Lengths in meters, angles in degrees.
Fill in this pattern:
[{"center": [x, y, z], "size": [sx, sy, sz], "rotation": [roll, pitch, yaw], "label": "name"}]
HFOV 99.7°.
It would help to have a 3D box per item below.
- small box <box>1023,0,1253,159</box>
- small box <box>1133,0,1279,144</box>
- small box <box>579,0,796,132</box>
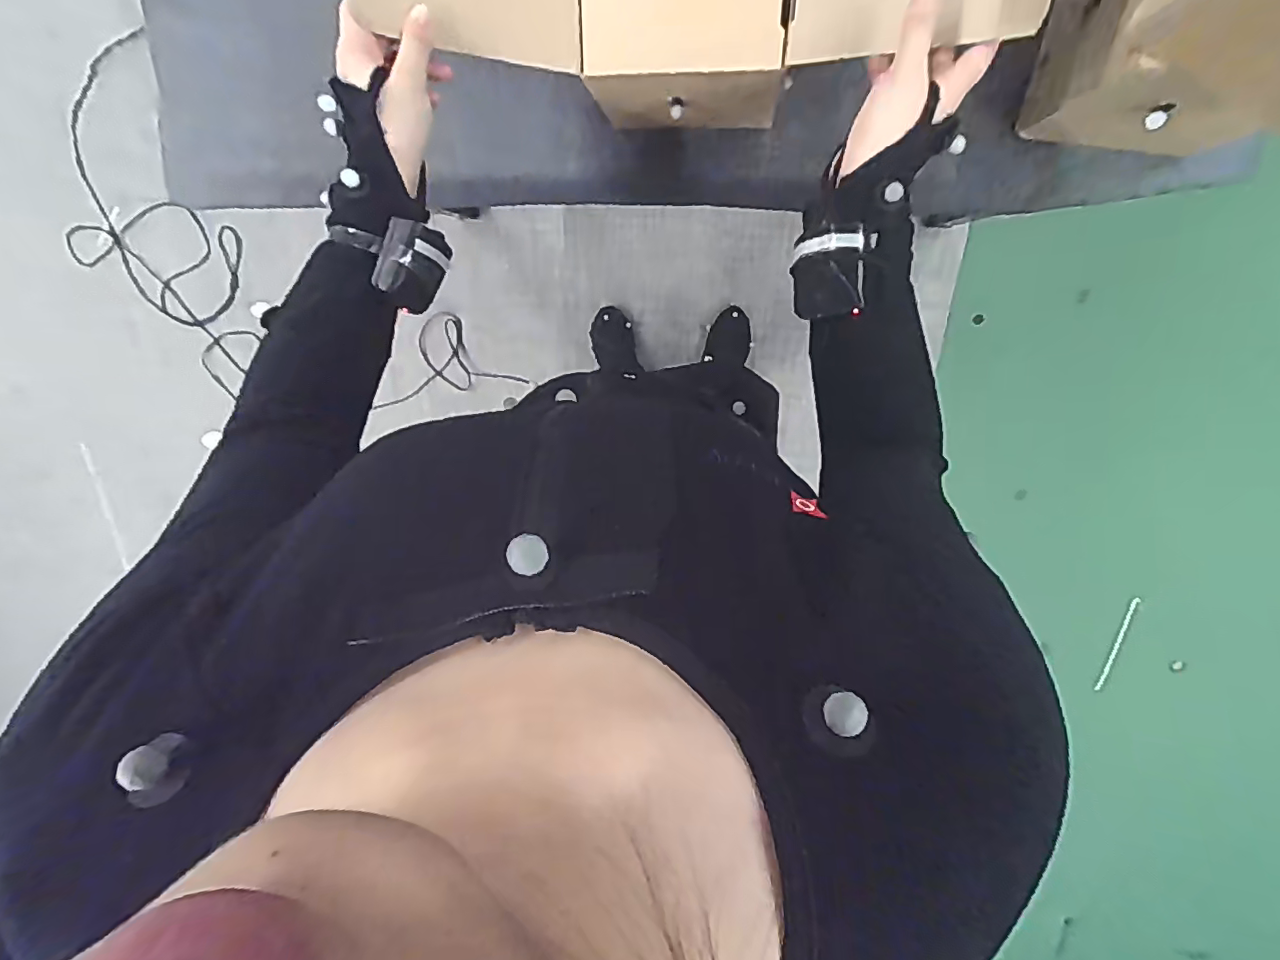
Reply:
[{"center": [0.475, -0.391, 0.456], "size": [0.179, 0.176, 0.168], "rotation": [10, 108, 5], "label": "small box"}, {"center": [0.458, -0.327, 0.306], "size": [0.179, 0.176, 0.168], "rotation": [30, 108, -3], "label": "small box"}, {"center": [0.049, -0.437, 0.497], "size": [0.179, 0.176, 0.168], "rotation": [5, 110, 8], "label": "small box"}]
